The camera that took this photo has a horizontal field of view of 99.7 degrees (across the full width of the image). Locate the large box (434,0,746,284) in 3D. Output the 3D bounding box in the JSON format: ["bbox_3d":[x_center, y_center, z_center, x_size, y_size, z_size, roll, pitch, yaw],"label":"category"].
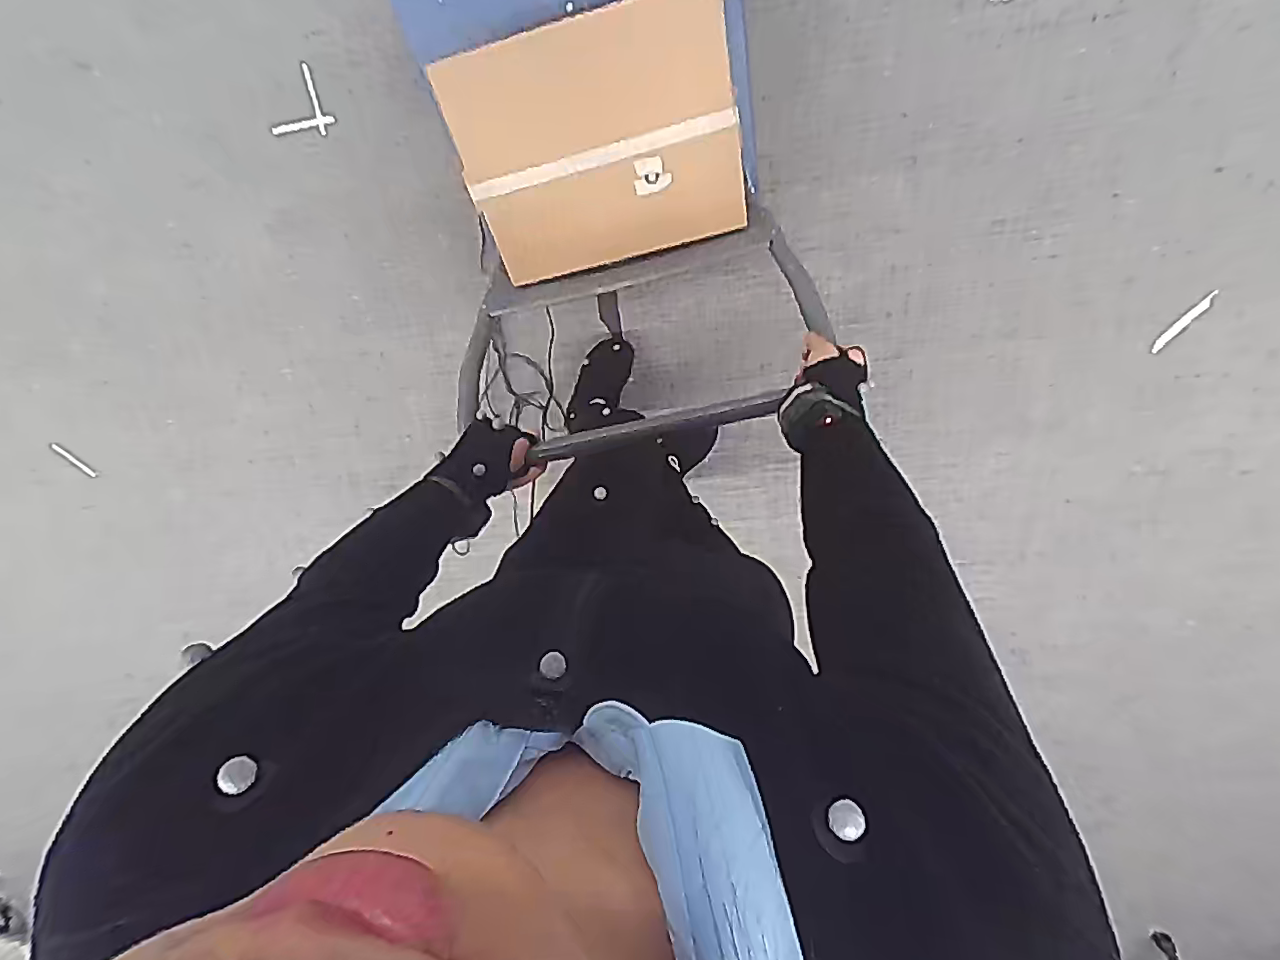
[{"bbox_3d":[-0.065,-0.587,0.921,0.408,0.320,0.320,-13,131,7],"label":"large box"}]
